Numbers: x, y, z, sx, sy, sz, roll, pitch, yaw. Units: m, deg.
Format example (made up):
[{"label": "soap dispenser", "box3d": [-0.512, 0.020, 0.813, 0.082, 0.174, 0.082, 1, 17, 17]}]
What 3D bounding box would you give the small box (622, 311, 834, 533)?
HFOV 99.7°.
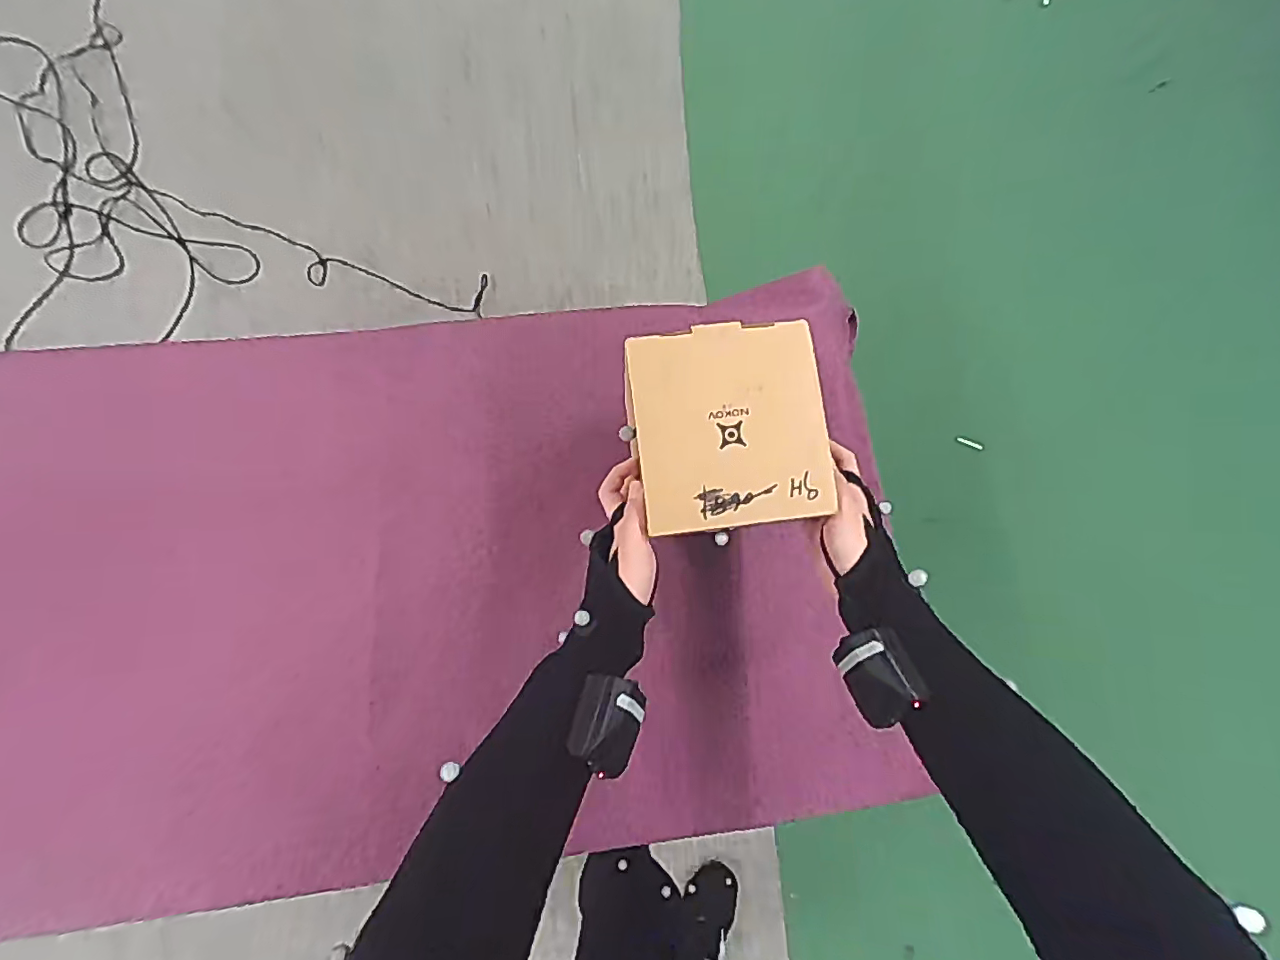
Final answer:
[{"label": "small box", "box3d": [0.071, -0.045, 0.540, 0.168, 0.176, 0.179, -7, 83, -1]}]
